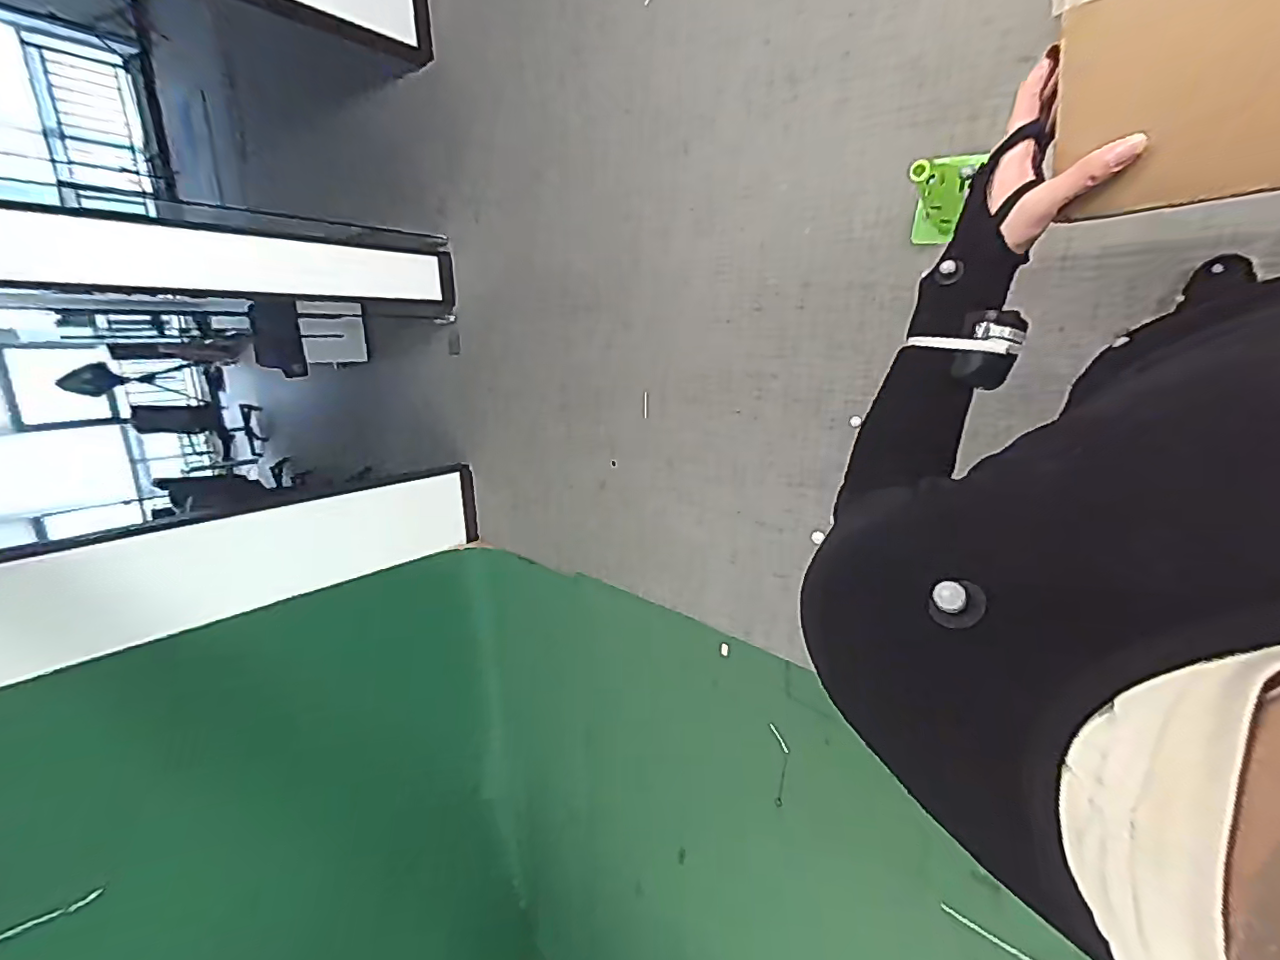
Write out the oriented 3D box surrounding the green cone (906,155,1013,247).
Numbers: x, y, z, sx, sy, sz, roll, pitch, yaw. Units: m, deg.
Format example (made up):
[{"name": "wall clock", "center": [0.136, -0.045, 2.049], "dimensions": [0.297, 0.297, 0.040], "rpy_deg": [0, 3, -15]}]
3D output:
[{"name": "green cone", "center": [0.688, -0.663, 1.242], "dimensions": [0.200, 0.368, 0.202], "rpy_deg": [20, 115, 39]}]
